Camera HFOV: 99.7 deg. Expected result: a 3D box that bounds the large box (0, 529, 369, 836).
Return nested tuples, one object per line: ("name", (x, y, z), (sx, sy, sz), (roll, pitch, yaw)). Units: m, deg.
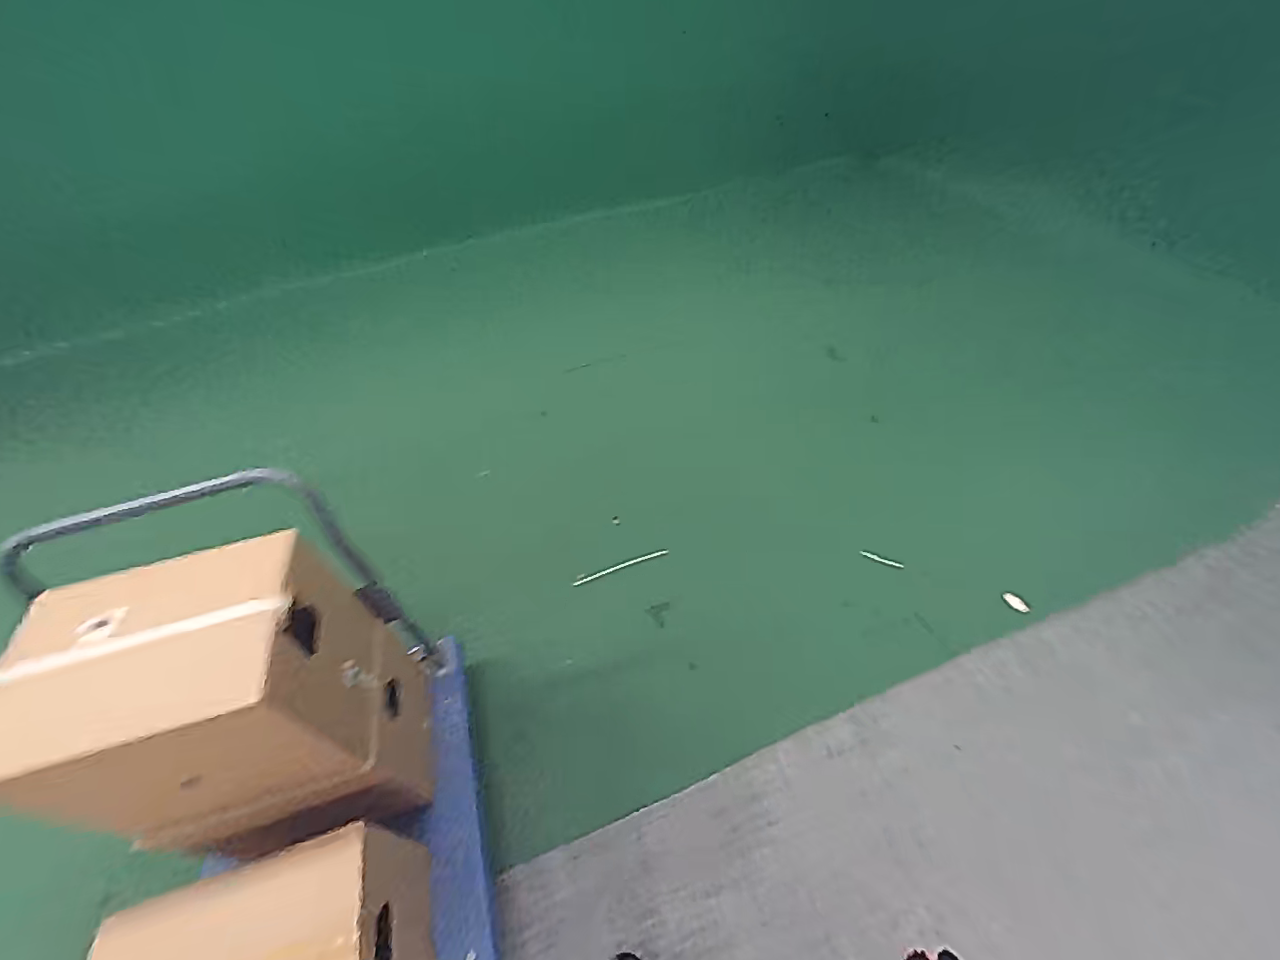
("large box", (-0.726, 0.341, 0.911), (0.408, 0.320, 0.320), (-16, 48, -6))
